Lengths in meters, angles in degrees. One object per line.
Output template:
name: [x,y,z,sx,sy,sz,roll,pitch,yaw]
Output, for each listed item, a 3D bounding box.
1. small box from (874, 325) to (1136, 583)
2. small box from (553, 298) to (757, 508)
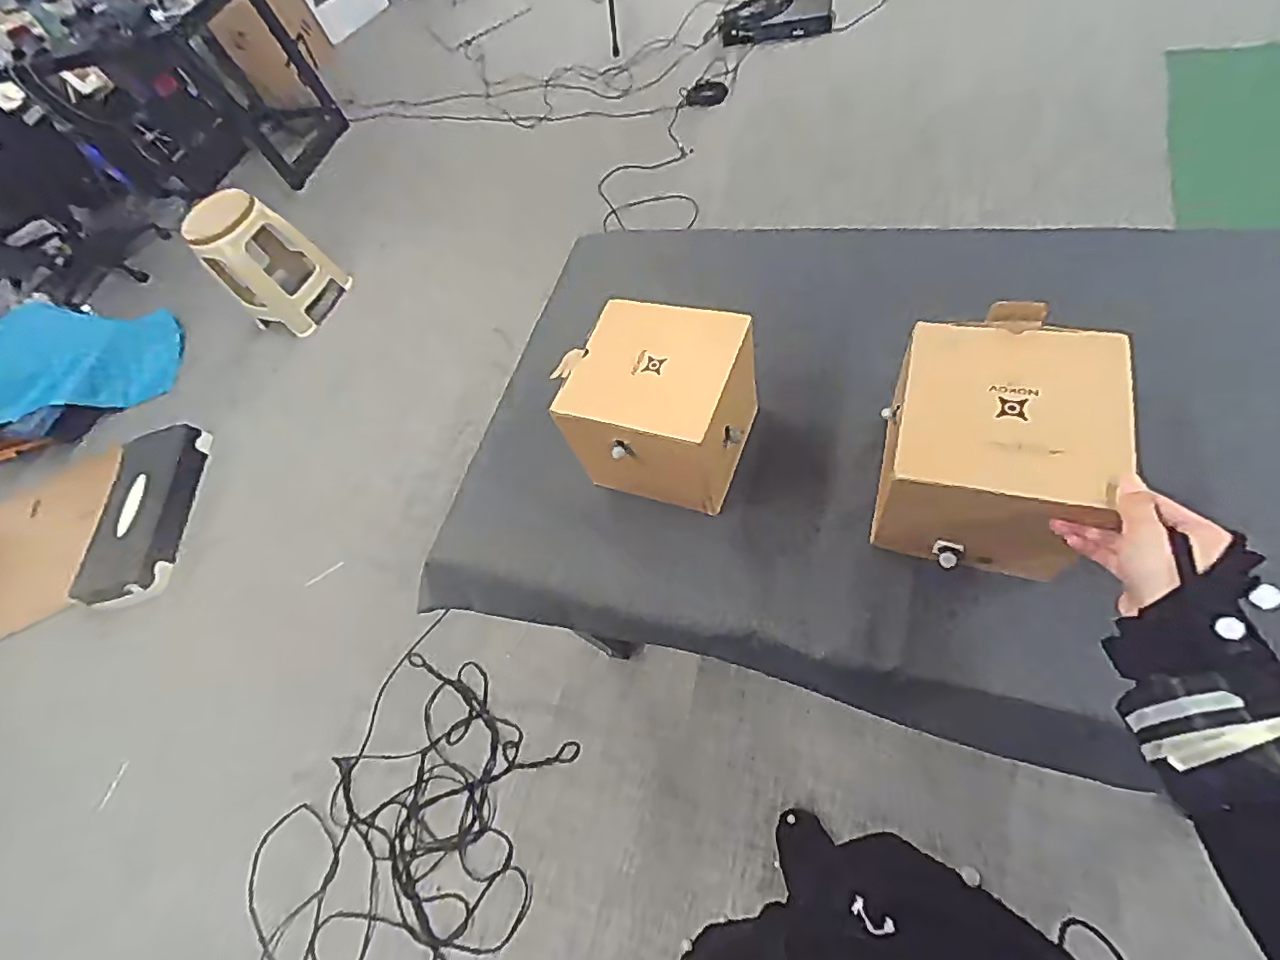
small box: [0.334,-0.022,0.526,0.168,0.176,0.179,10,65,21]
small box: [0.033,-0.085,0.639,0.179,0.176,0.168,15,66,22]
